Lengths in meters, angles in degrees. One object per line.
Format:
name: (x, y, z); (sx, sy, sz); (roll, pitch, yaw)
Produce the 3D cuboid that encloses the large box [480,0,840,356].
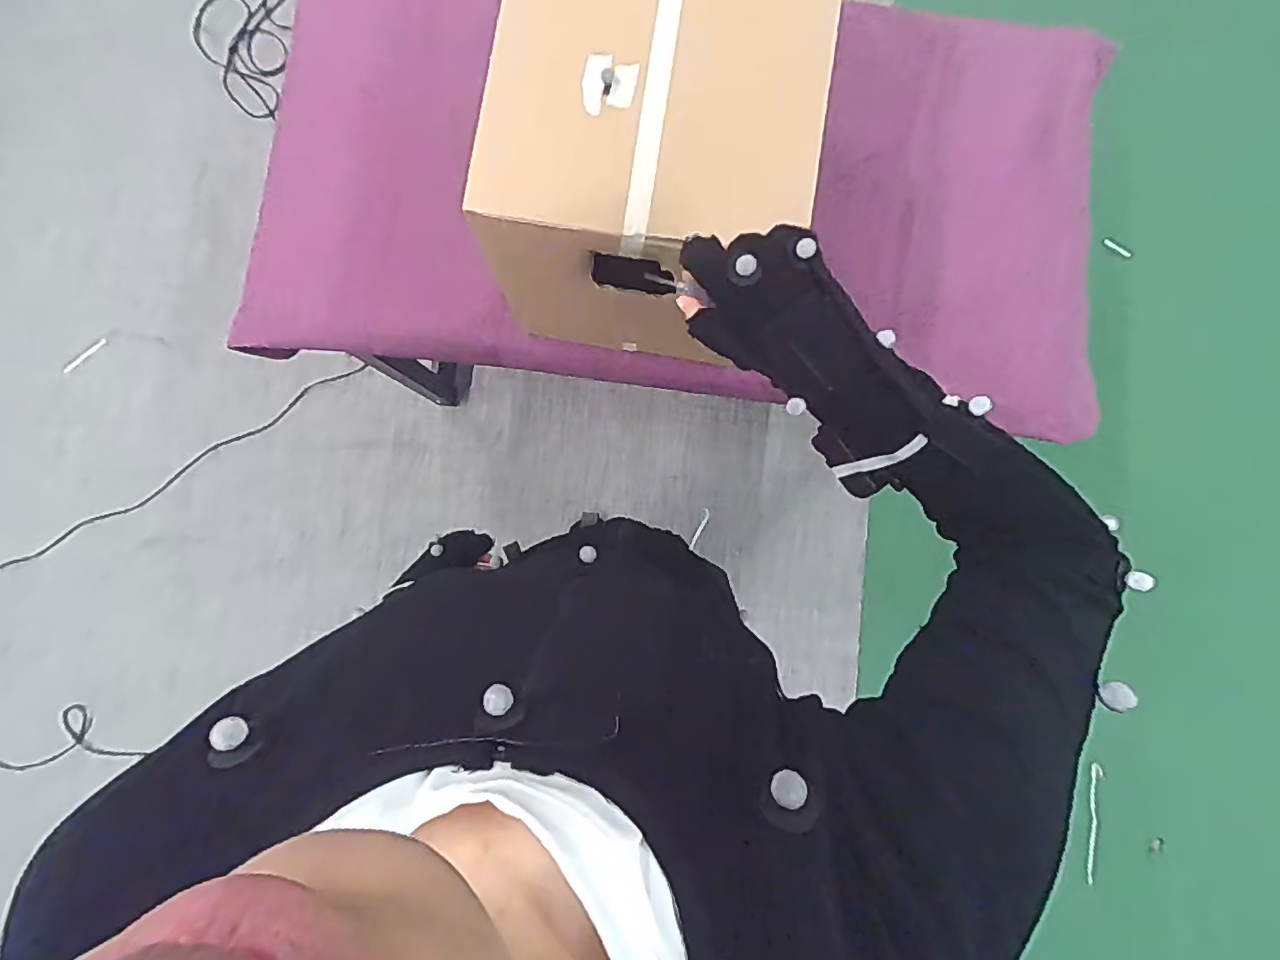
large box: (0.024, -0.409, 0.662); (0.320, 0.320, 0.408); (9, 86, -1)
